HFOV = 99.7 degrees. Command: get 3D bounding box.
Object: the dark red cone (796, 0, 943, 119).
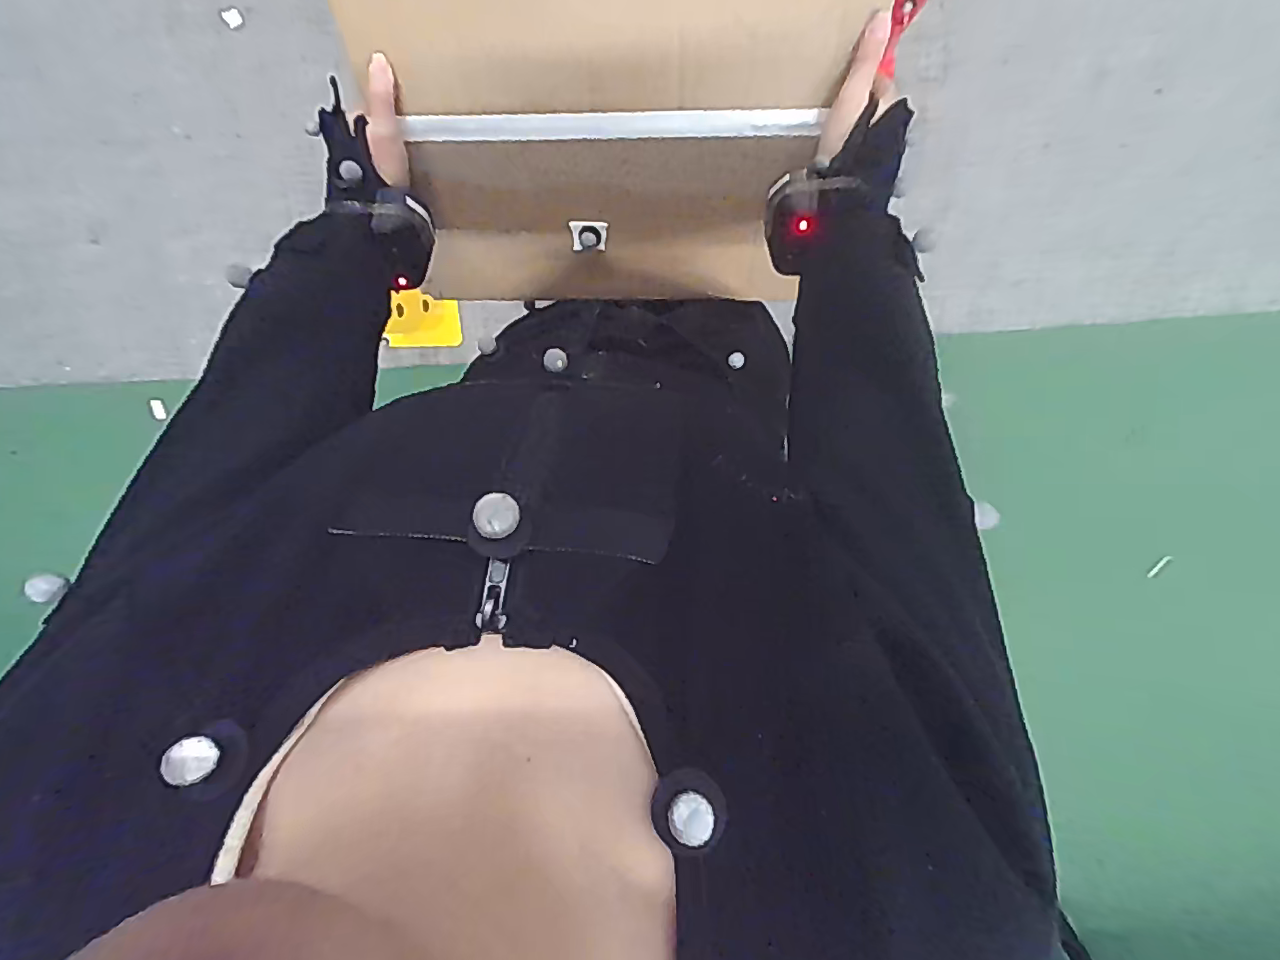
[{"bbox_3d":[0.394,-0.738,0.864,0.202,0.394,0.201,-10,115,4],"label":"dark red cone"}]
